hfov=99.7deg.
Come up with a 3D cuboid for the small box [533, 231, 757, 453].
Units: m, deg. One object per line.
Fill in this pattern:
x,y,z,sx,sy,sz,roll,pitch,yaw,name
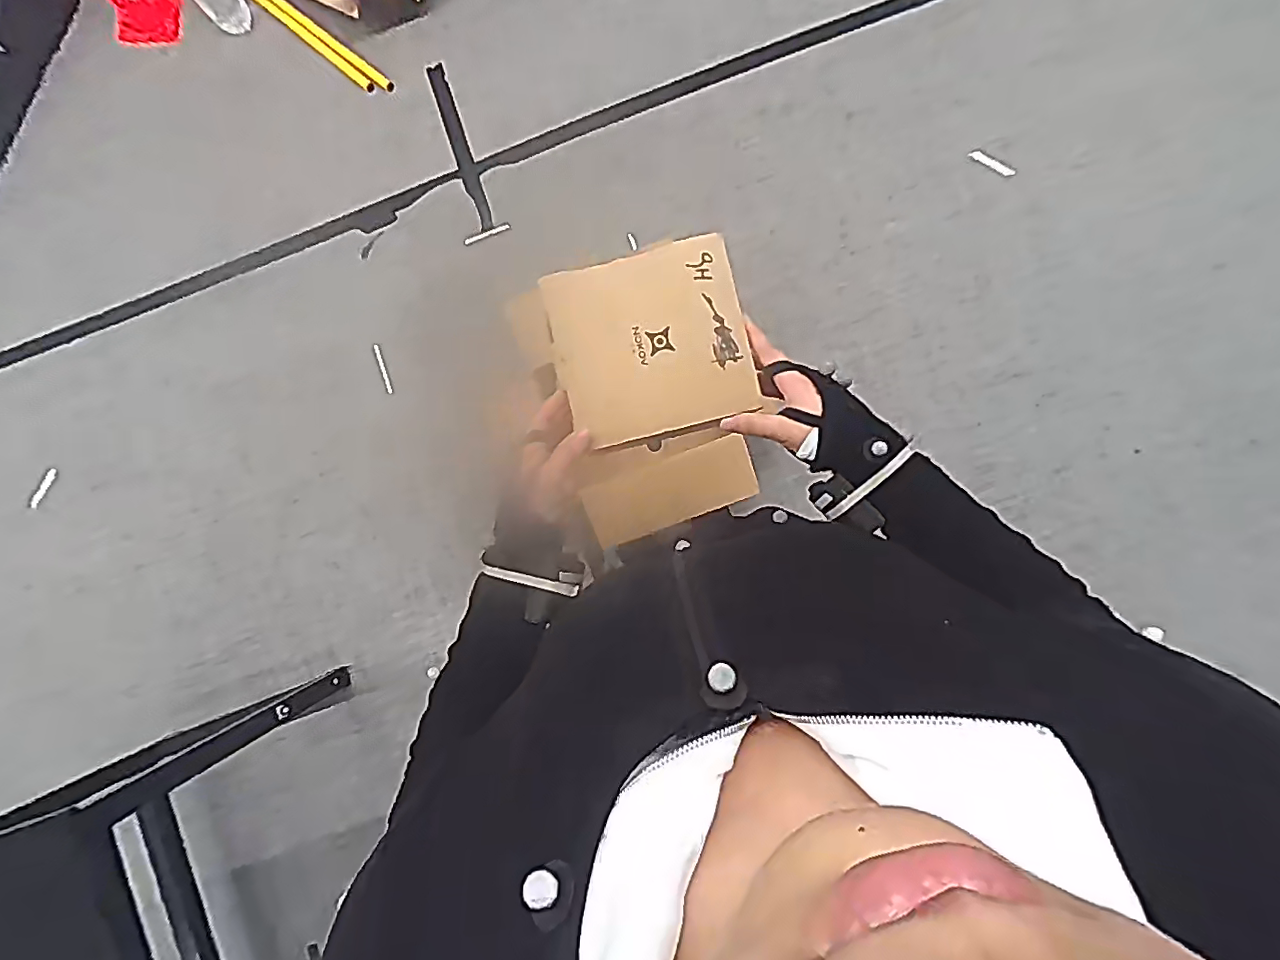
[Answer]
0.006,-0.127,0.568,0.179,0.176,0.168,-14,91,1,small box
